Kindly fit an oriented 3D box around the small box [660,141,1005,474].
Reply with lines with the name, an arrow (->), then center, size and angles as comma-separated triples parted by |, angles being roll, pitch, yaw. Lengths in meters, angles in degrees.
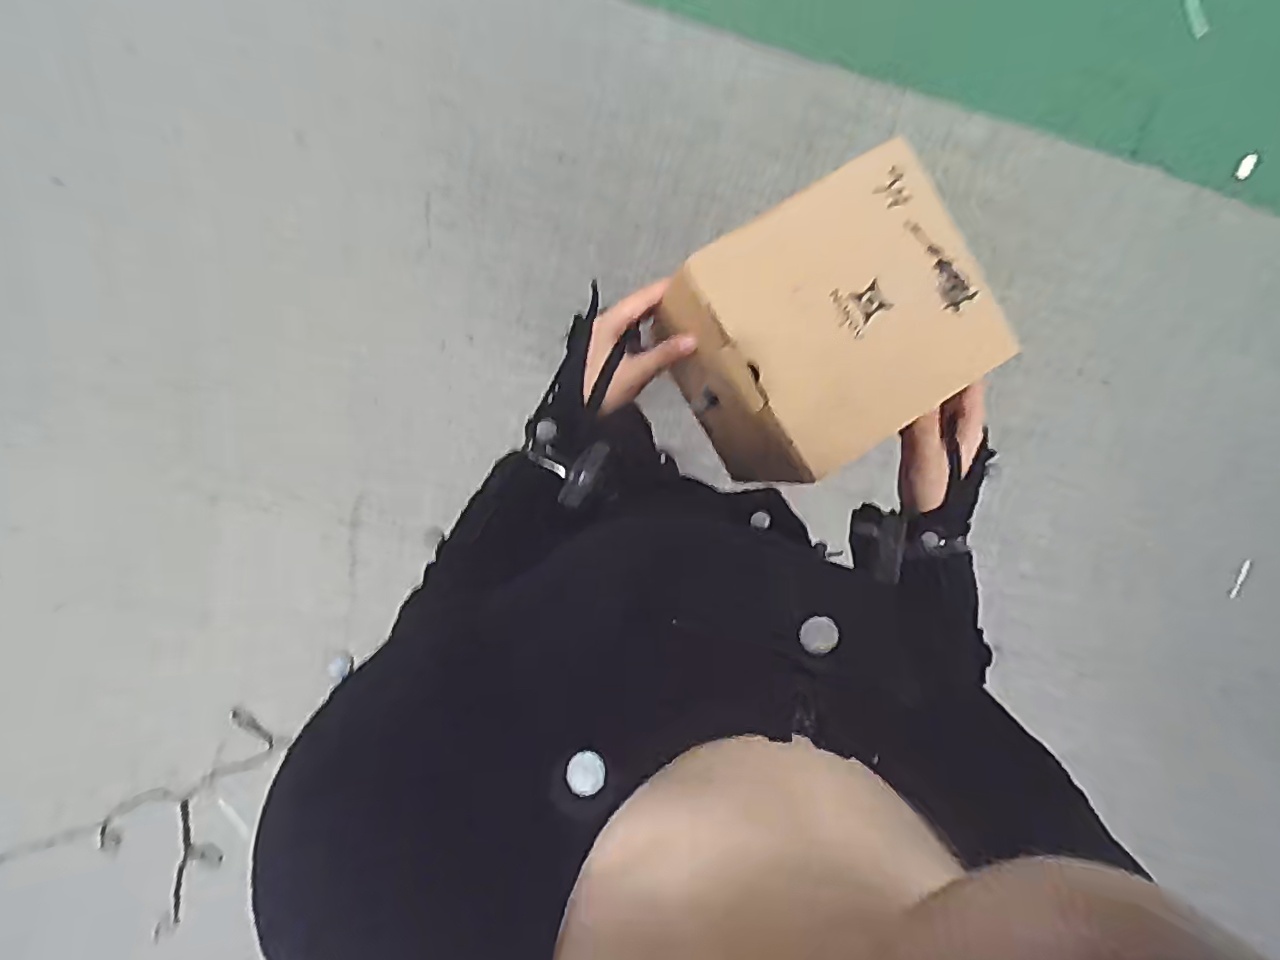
small box -> 0.128, -0.114, 0.437 | 0.179, 0.176, 0.168 | -32, 93, -5
